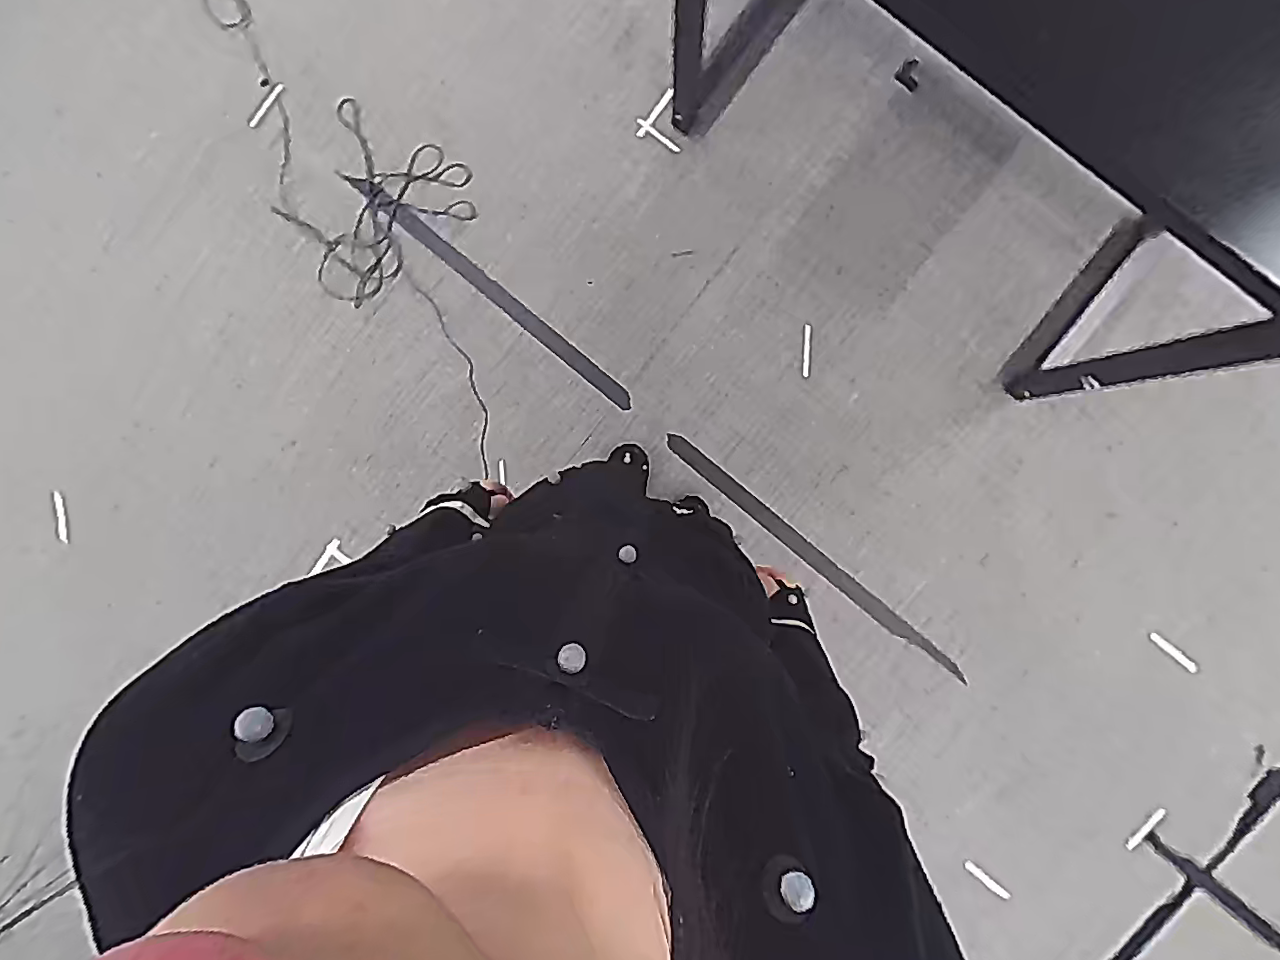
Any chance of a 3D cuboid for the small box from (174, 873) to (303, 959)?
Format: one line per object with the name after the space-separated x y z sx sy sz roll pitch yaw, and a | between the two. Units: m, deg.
-0.980 1.122 1.331 0.179 0.176 0.168 36 95 0 | small box
